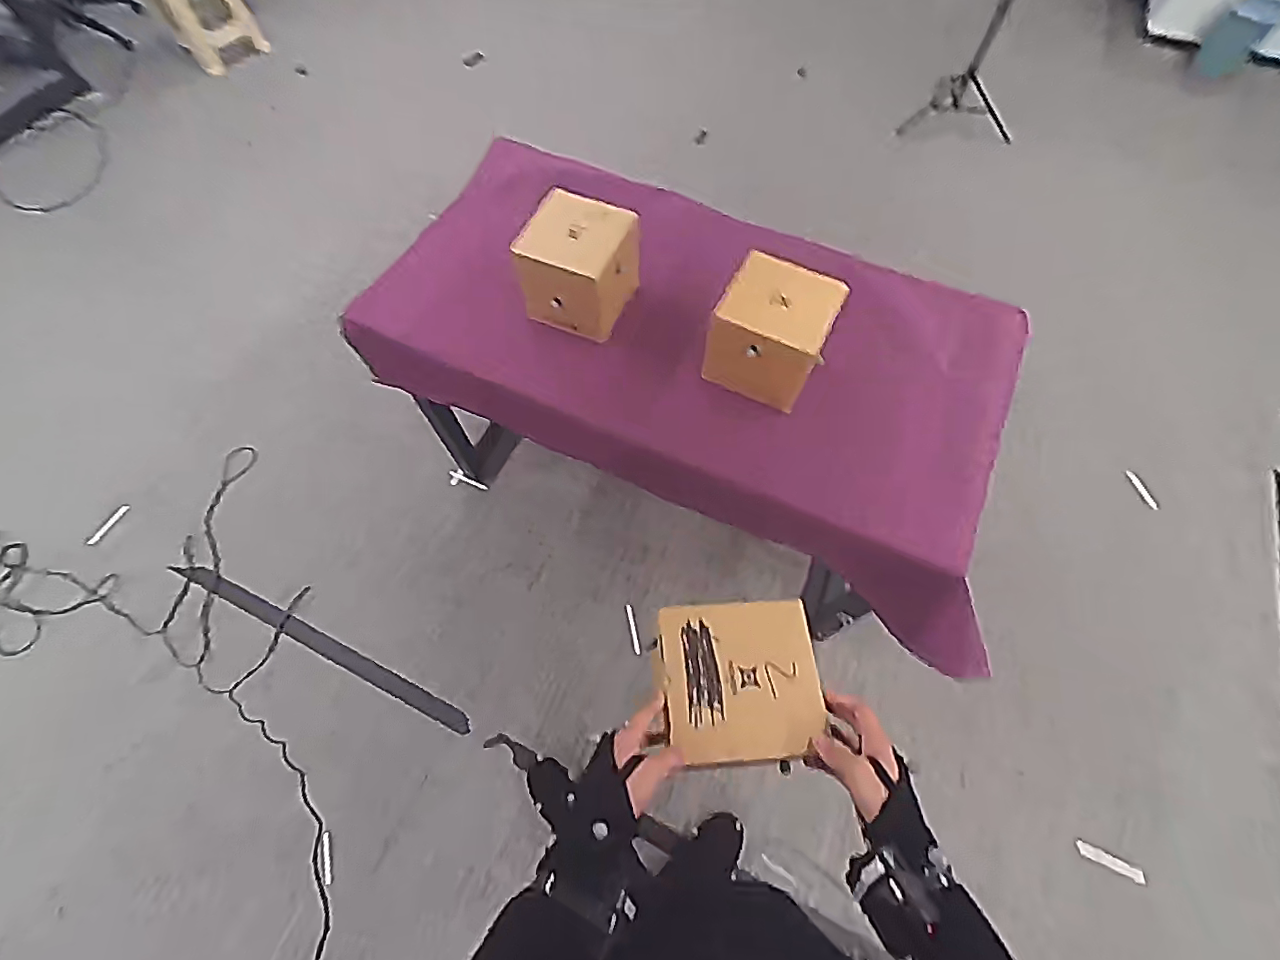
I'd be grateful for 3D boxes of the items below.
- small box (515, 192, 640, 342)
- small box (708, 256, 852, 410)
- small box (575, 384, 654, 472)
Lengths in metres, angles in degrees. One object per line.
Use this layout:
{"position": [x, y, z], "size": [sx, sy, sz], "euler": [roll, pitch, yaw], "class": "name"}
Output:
{"position": [-0.105, -0.390, 1.010], "size": [0.168, 0.176, 0.179], "euler": [22, 66, 10], "class": "small box"}
{"position": [0.235, -0.247, 0.944], "size": [0.179, 0.176, 0.168], "euler": [26, 67, 12], "class": "small box"}
{"position": [-0.073, -0.145, 1.575], "size": [0.179, 0.176, 0.168], "euler": [21, 66, 8], "class": "small box"}
